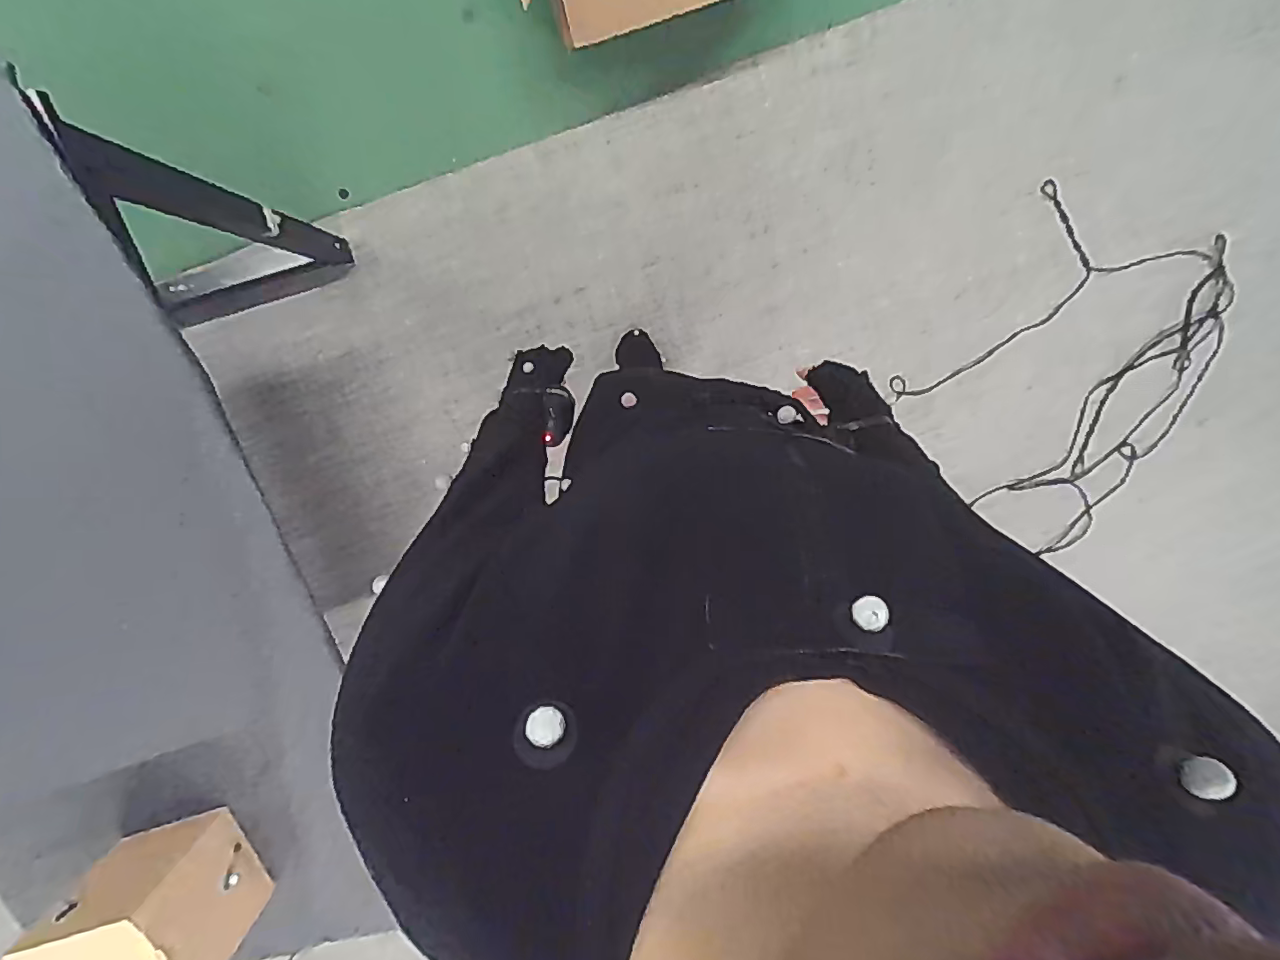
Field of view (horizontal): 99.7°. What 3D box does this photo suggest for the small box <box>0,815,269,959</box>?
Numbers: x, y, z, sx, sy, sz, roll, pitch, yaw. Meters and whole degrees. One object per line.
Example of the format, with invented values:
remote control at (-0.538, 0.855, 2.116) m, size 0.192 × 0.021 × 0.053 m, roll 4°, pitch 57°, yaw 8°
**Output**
small box at (-0.666, 0.606, 0.739) m, size 0.179 × 0.176 × 0.168 m, roll -18°, pitch 102°, yaw 1°
